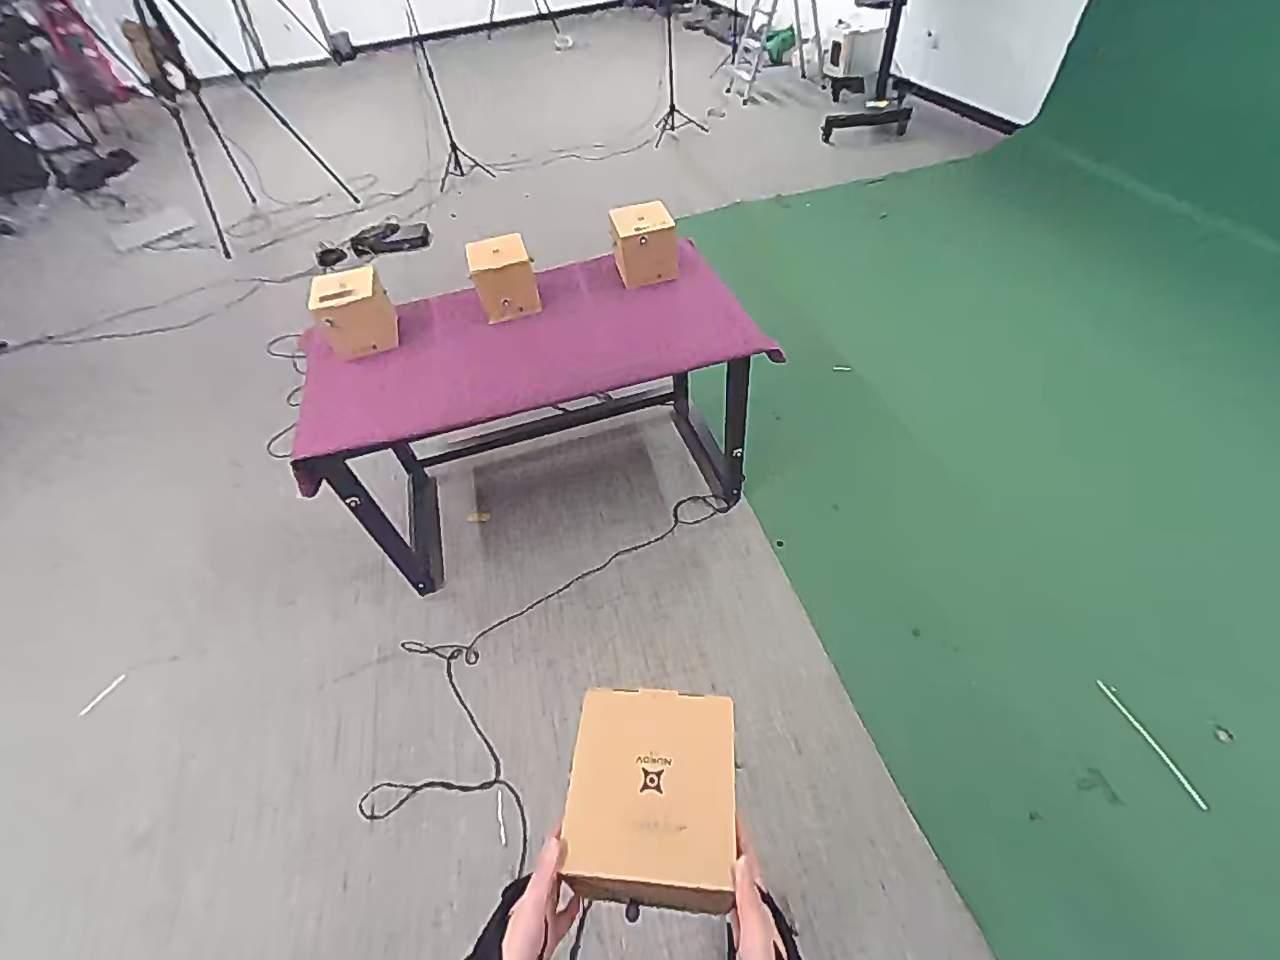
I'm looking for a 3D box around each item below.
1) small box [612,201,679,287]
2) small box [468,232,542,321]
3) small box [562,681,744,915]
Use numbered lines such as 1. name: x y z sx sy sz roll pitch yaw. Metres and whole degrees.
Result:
1. small box: 0.017 -0.710 1.631 0.168 0.176 0.179 -14 51 -4
2. small box: -0.393 -0.595 1.582 0.168 0.176 0.179 -16 51 -8
3. small box: 0.022 0.346 0.591 0.168 0.176 0.179 2 46 6
